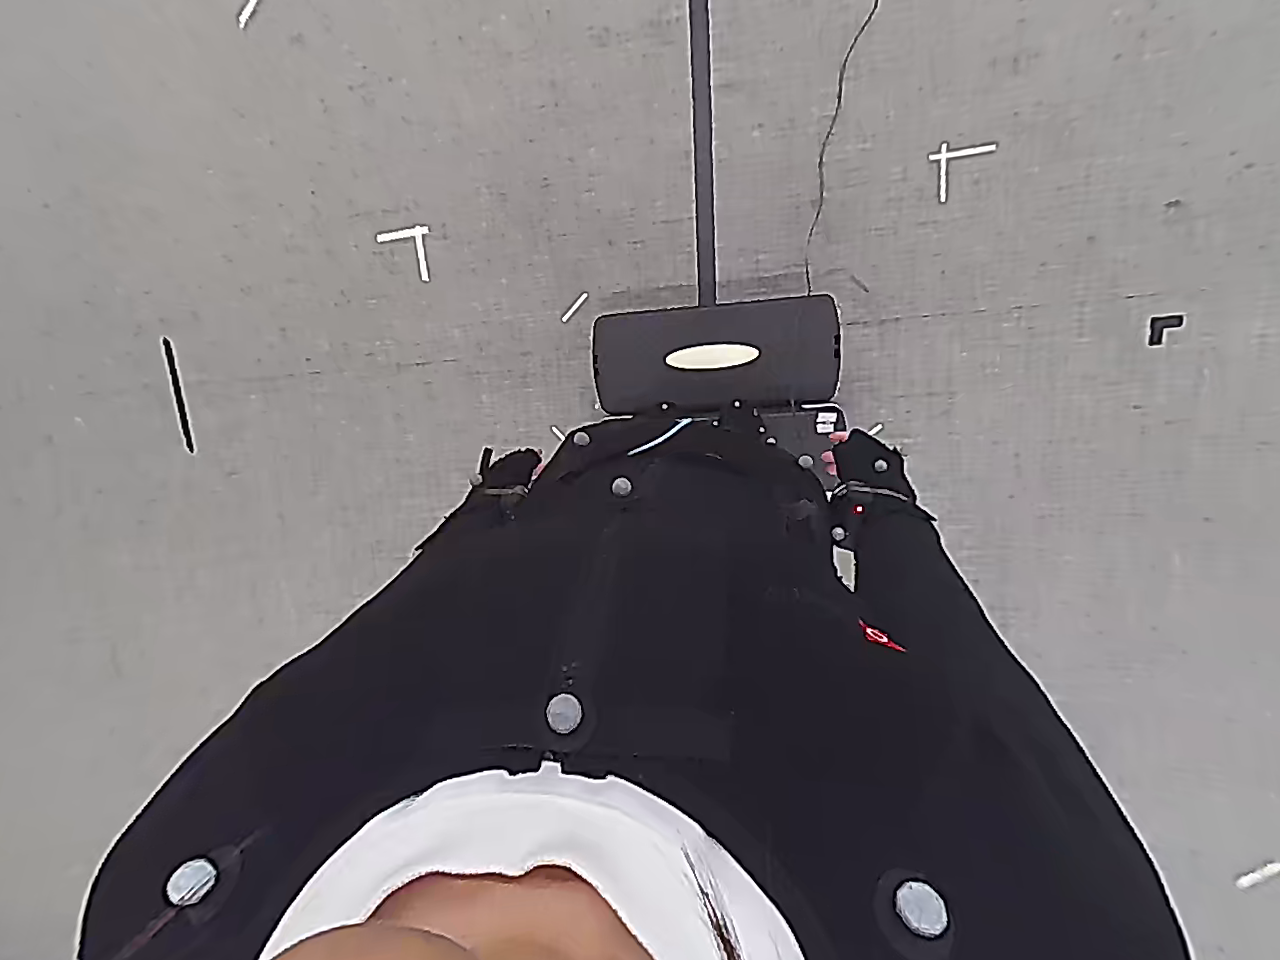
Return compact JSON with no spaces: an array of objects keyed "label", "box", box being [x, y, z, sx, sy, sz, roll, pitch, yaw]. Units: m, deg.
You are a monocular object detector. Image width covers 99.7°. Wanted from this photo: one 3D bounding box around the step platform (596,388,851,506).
[{"label":"step platform","box":[0.221,-0.088,1.498,0.684,0.204,0.286,-3,99,12]}]
